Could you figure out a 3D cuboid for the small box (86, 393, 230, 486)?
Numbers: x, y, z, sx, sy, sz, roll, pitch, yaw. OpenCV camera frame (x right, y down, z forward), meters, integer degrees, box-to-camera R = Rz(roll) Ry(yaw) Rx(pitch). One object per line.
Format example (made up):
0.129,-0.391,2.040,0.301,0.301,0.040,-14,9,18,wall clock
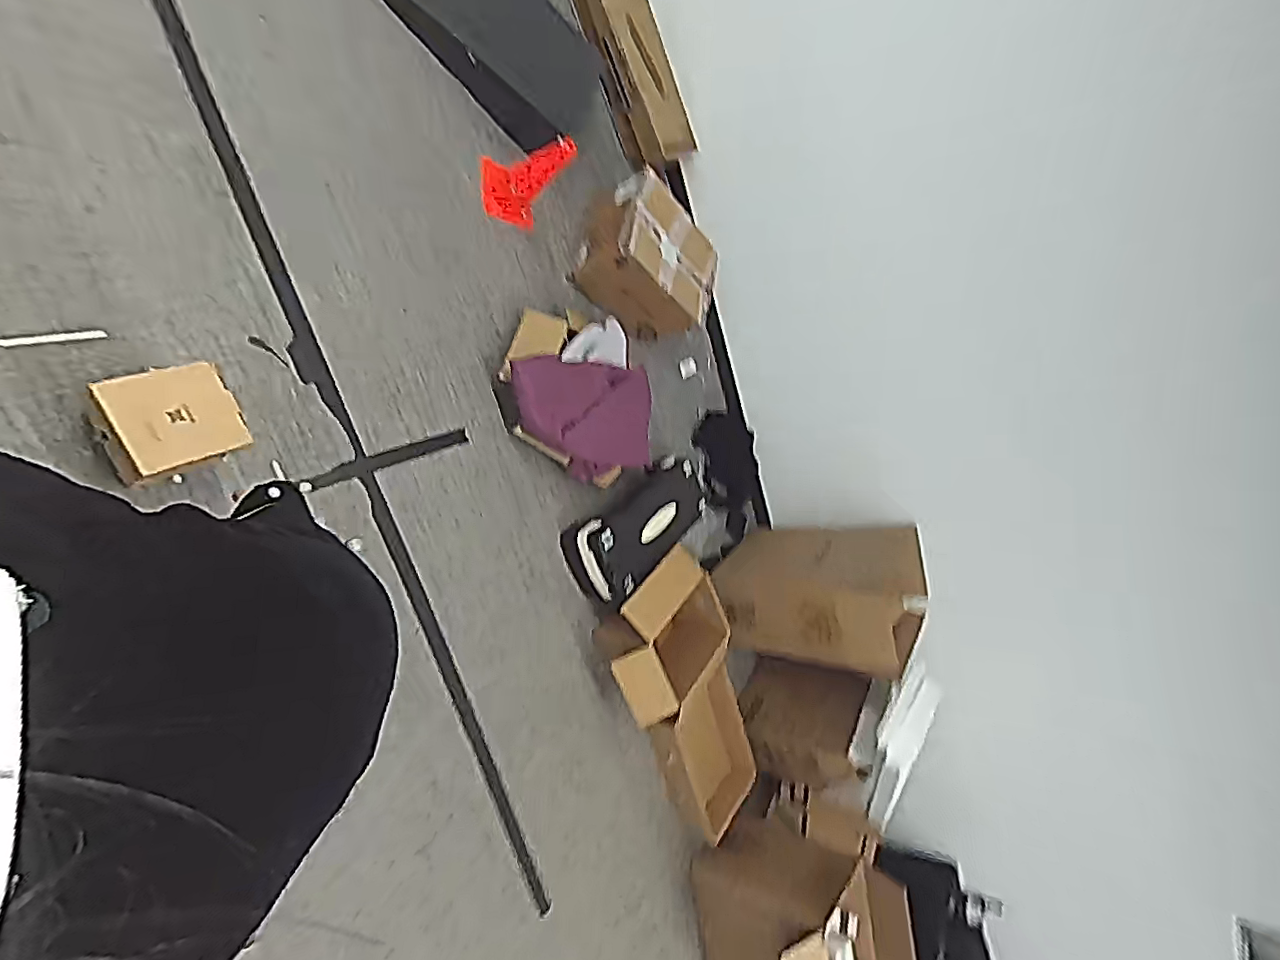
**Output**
-0.994,-0.098,1.114,0.168,0.176,0.179,-31,109,-45,small box

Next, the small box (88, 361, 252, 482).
-0.874,-0.106,1.005,0.179,0.176,0.168,-33,108,-44,small box
